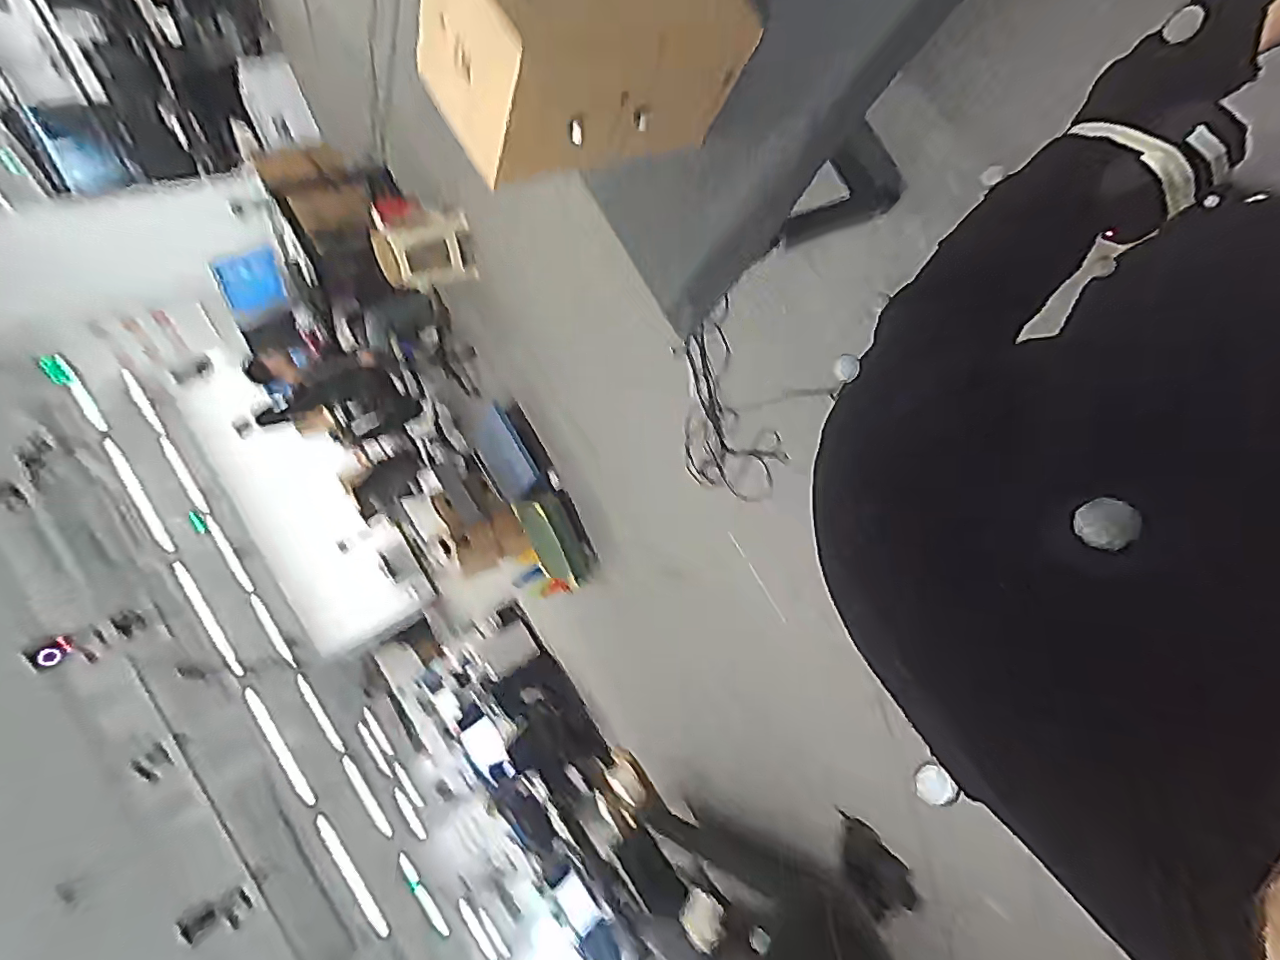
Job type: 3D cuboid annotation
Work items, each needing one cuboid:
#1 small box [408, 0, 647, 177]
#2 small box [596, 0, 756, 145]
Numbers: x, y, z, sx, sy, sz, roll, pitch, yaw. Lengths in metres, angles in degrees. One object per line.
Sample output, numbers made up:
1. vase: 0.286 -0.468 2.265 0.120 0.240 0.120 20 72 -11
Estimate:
1. small box: -0.121 -0.467 0.575 0.179 0.176 0.168 59 149 2
2. small box: 0.002 -0.546 0.653 0.179 0.176 0.168 59 150 3
